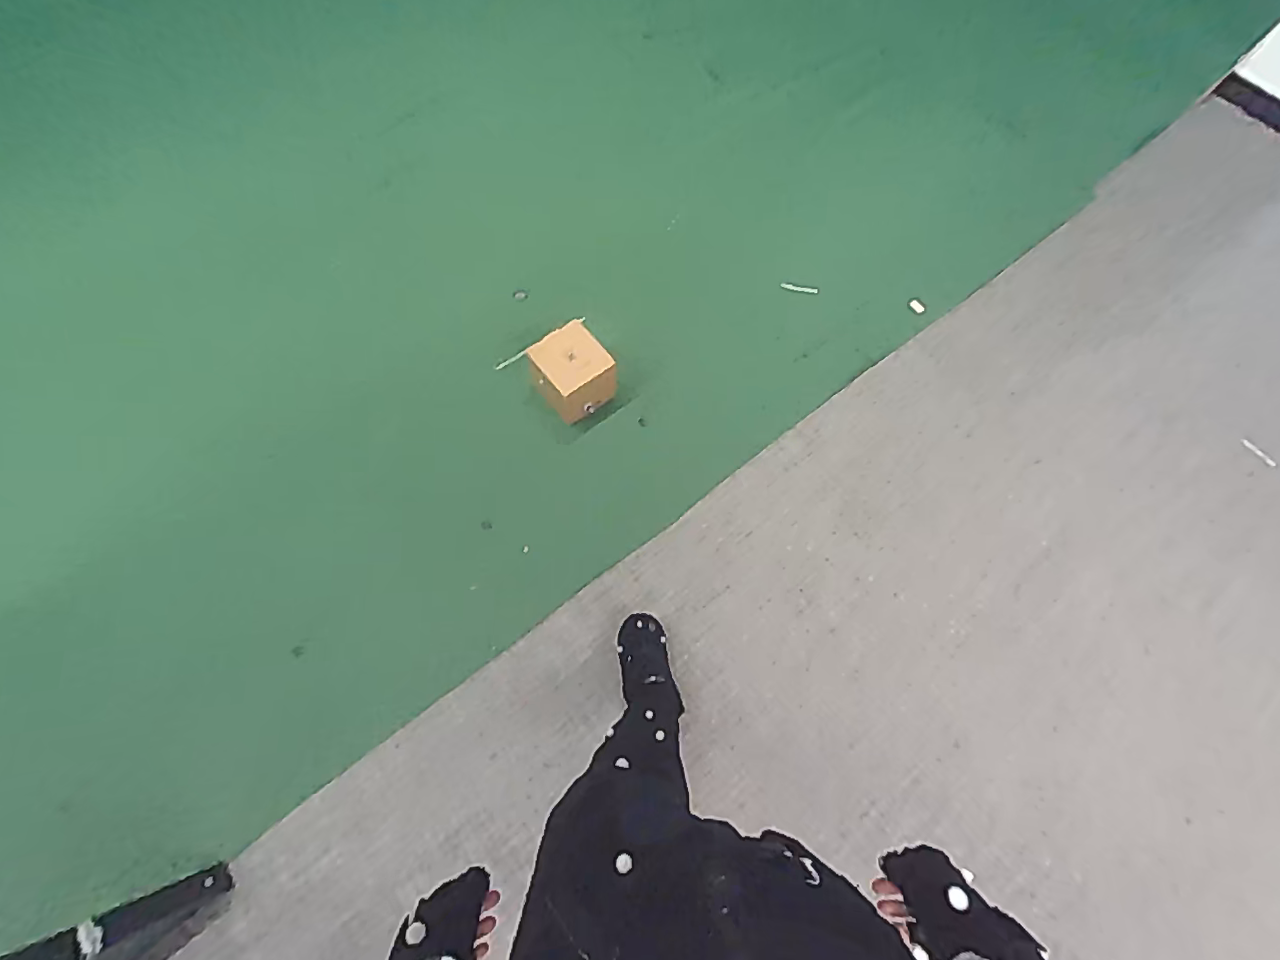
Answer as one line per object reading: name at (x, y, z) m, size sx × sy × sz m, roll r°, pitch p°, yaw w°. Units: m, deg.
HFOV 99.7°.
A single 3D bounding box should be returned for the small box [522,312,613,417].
small box at (-0.187, -0.300, 1.429) m, size 0.168 × 0.176 × 0.179 m, roll -35°, pitch 75°, yaw -13°
